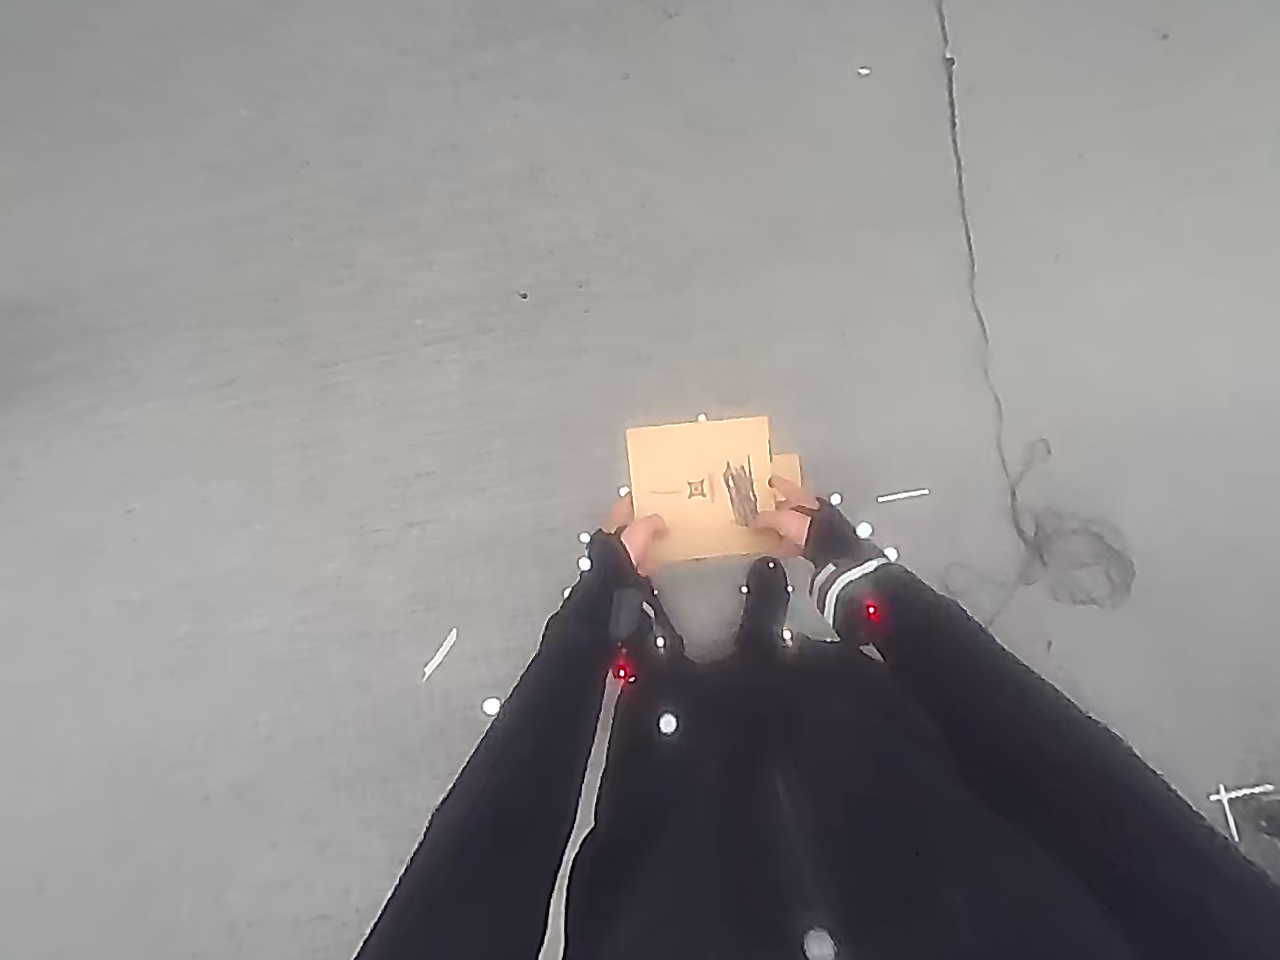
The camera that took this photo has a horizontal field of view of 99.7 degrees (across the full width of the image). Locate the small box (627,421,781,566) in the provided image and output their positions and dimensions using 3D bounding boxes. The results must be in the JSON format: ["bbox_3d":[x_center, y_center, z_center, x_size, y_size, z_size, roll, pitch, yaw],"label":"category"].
[{"bbox_3d":[0.076,0.017,0.728,0.179,0.176,0.168,-6,88,-1],"label":"small box"}]
